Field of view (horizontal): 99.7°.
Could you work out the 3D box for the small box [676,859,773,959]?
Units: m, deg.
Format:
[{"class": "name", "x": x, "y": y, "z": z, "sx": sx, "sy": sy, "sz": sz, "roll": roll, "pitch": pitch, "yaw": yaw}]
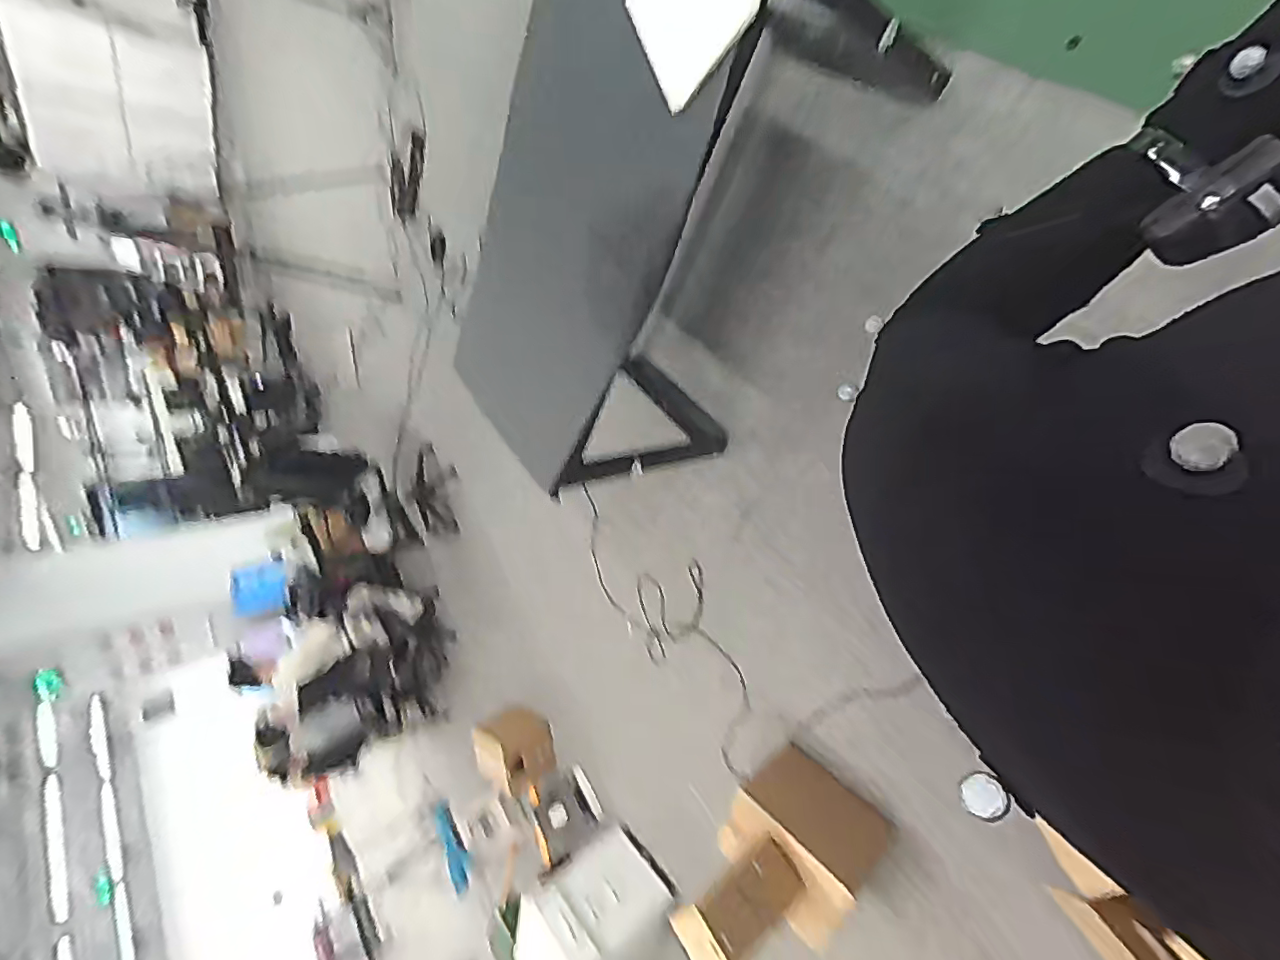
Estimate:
[{"class": "small box", "x": 0.238, "y": 1.208, "z": 1.509, "sx": 0.168, "sy": 0.176, "sz": 0.179, "roll": 51, "pitch": 134, "yaw": 26}]
